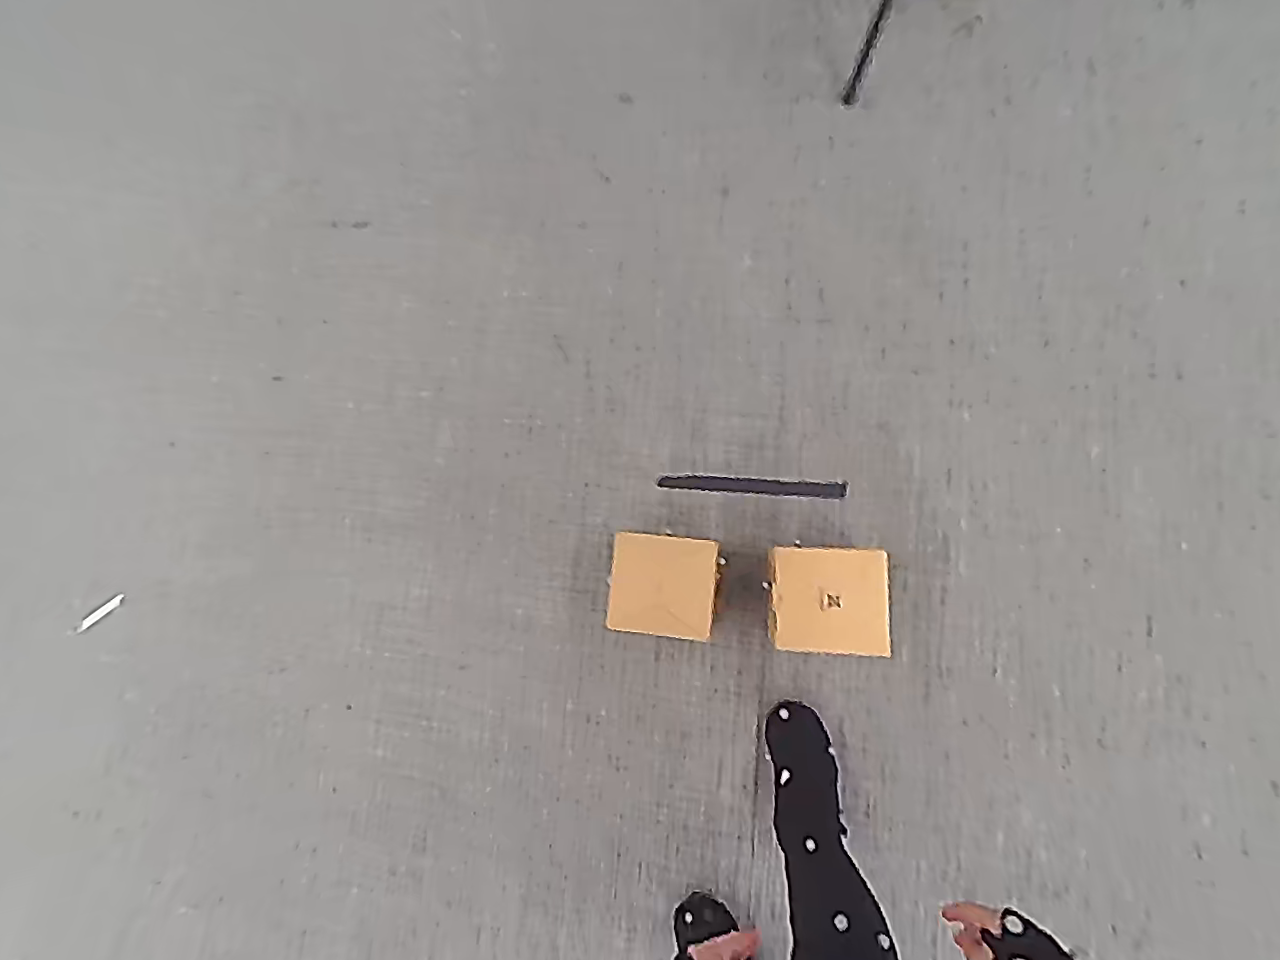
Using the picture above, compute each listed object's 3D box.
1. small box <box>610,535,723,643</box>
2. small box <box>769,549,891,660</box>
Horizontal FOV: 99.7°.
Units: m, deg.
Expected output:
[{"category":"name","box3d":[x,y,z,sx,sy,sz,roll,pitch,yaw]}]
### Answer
[{"category":"small box","box3d":[0.054,0.191,0.984,0.179,0.176,0.168,5,84,10]},{"category":"small box","box3d":[0.321,0.207,0.941,0.179,0.176,0.168,0,83,11]}]
